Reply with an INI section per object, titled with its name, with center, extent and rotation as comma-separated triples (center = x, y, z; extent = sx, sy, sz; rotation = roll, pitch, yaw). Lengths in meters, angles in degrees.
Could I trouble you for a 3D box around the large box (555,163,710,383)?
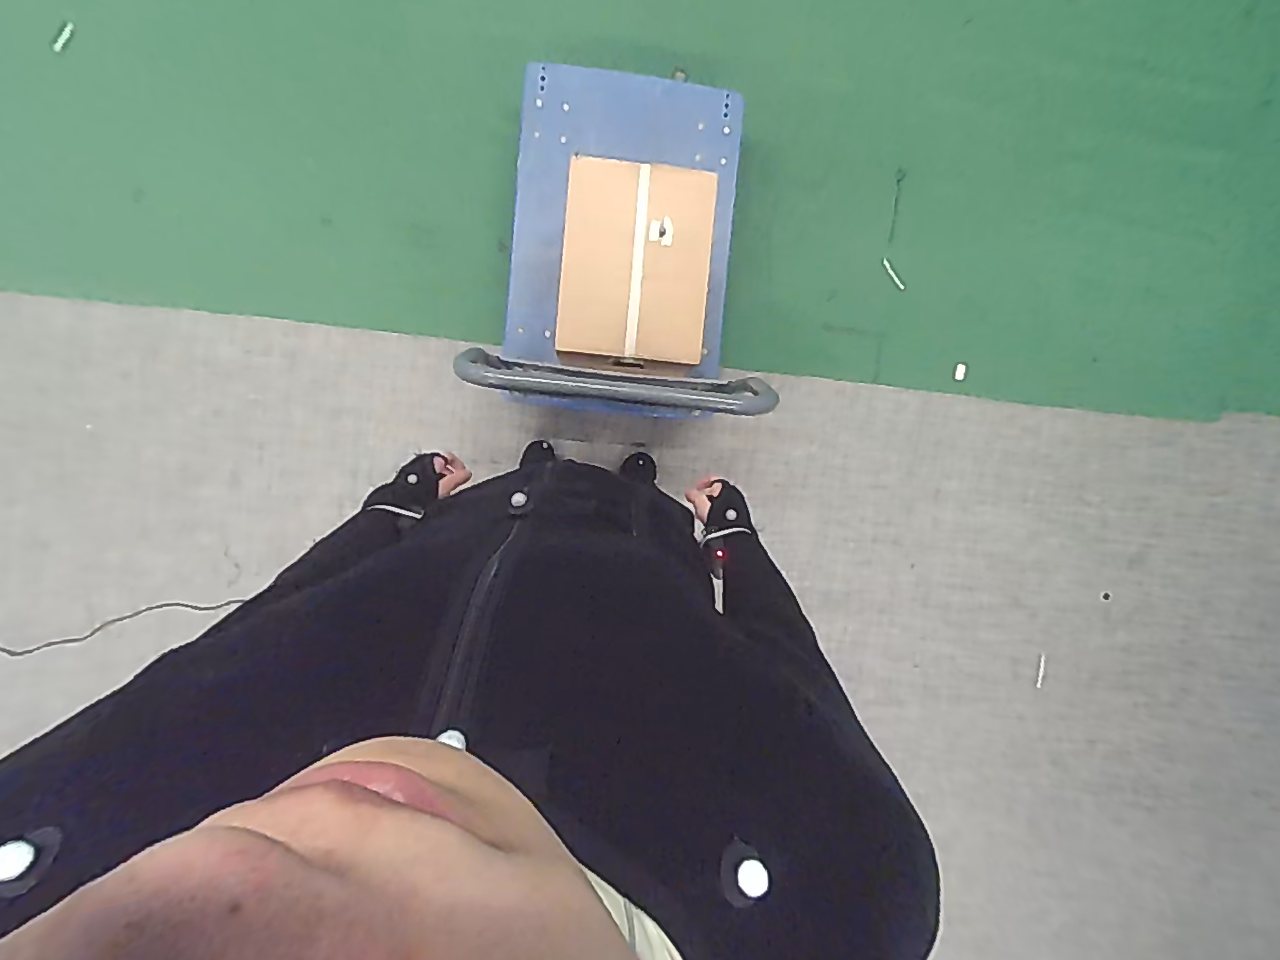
[large box]
center = -0.025, -0.458, 1.290
extent = 0.320, 0.320, 0.408
rotation = 4, 92, -6
